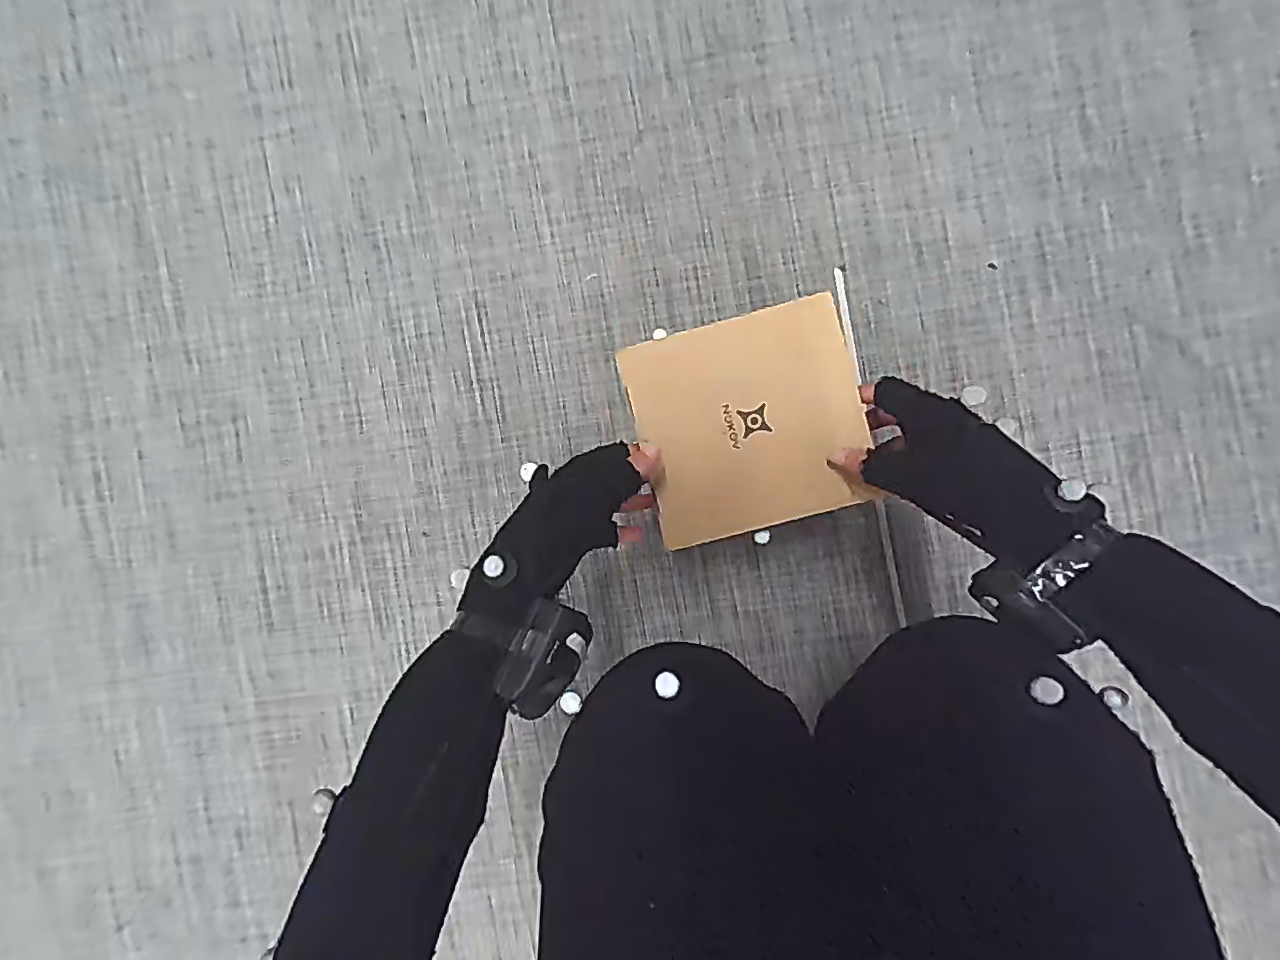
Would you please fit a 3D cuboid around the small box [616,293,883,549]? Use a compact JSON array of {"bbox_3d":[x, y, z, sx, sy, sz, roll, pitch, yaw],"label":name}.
[{"bbox_3d":[0.087,-0.045,0.494,0.179,0.176,0.168,-15,88,4],"label":"small box"}]
